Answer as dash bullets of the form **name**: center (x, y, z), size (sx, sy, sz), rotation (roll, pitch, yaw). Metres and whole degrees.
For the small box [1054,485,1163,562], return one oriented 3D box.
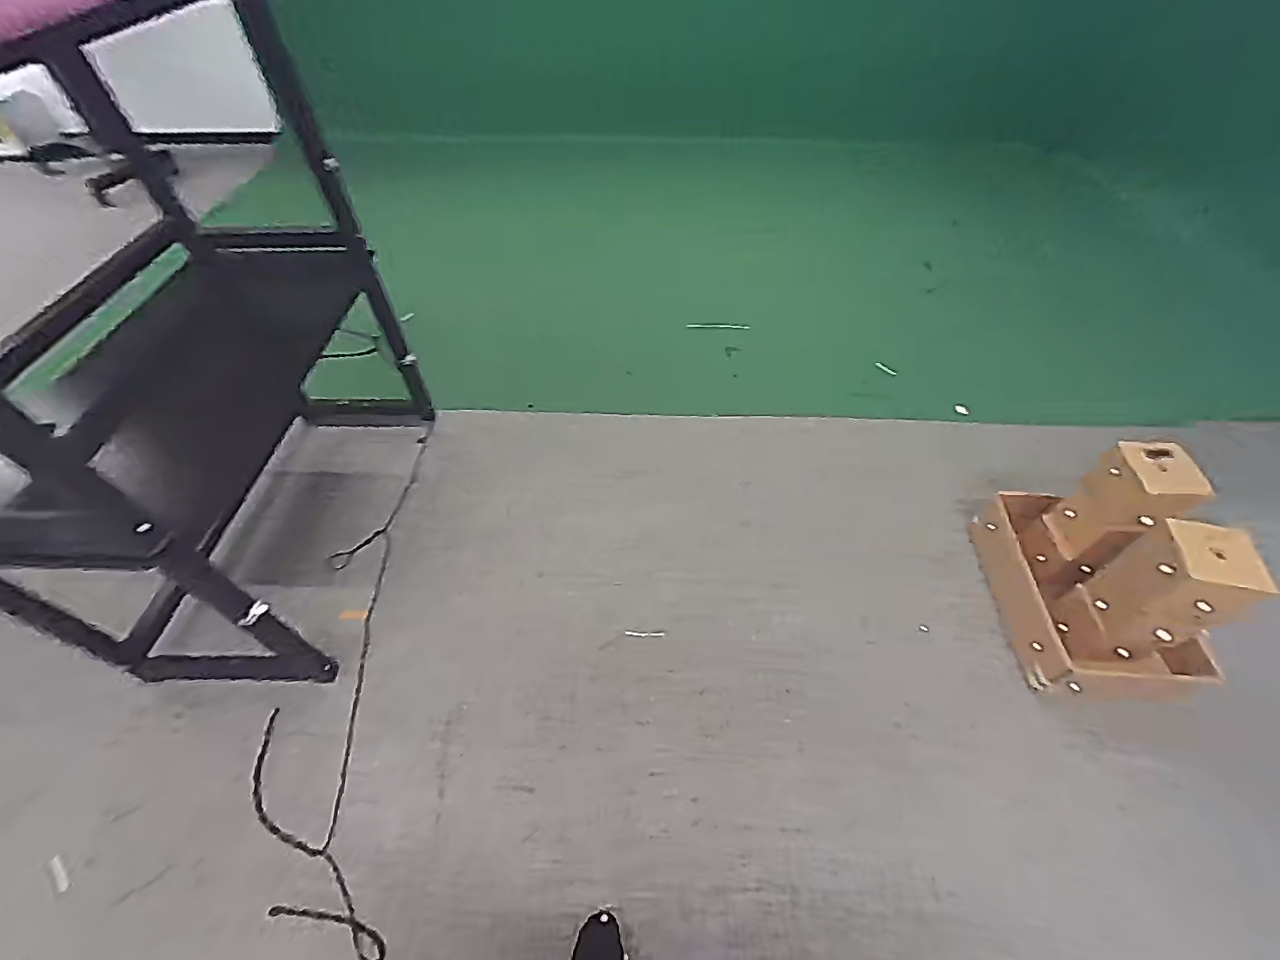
- **small box**: center (1.371, 0.131, 1.593), size (0.179, 0.176, 0.168), rotation (1, 52, 2)

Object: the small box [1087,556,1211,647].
- **small box**: center (1.344, 0.324, 1.427), size (0.168, 0.176, 0.179), rotation (4, 50, 6)

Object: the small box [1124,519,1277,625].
- **small box**: center (1.324, 0.224, 1.295), size (0.168, 0.176, 0.179), rotation (10, 51, 11)
